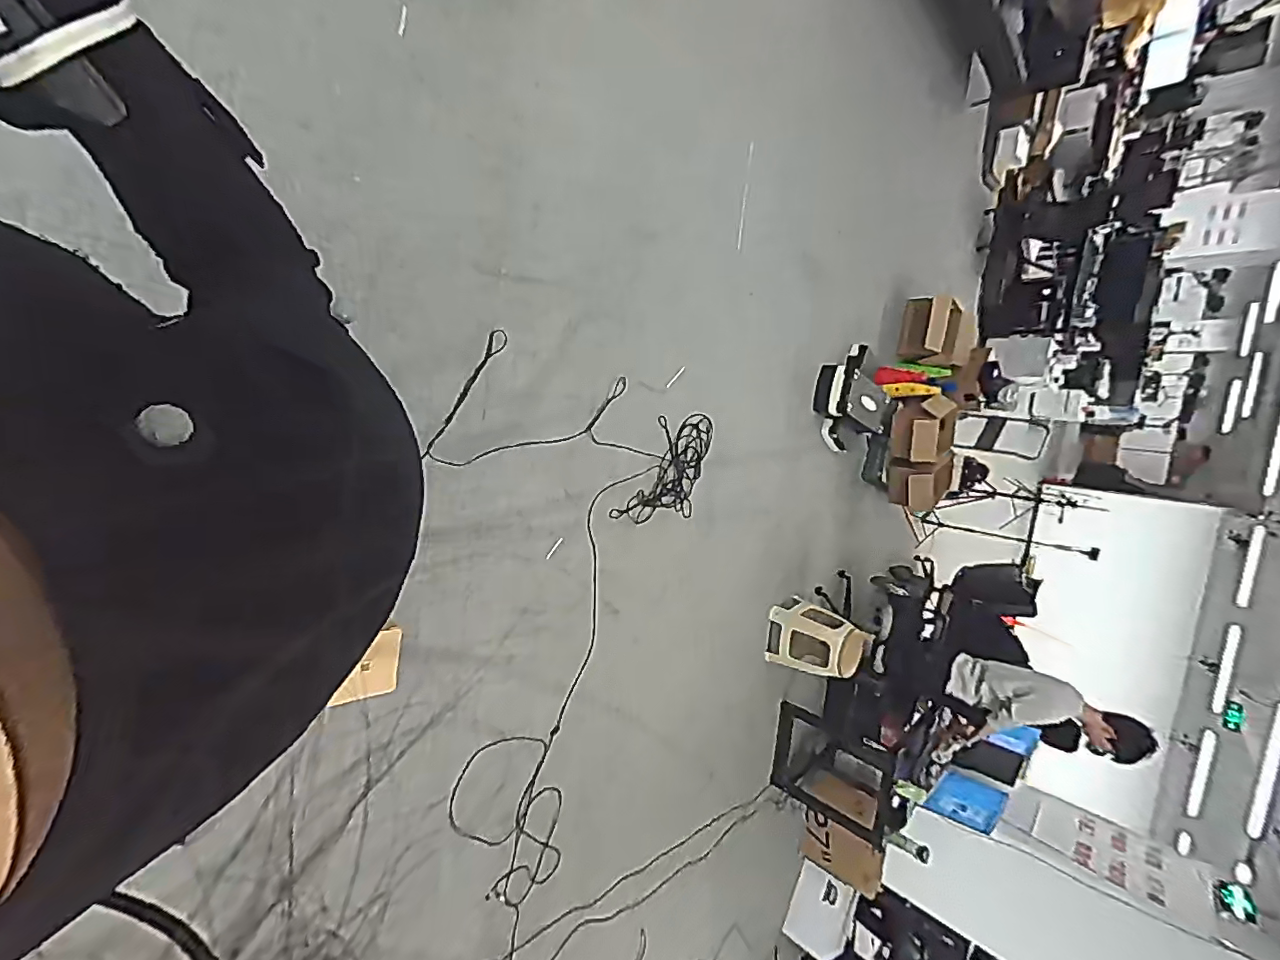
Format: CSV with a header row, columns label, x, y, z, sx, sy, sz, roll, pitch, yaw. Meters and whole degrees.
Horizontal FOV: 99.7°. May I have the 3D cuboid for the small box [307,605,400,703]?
label,x,y,z,sx,sy,sz,roll,pitch,yaw
small box,-0.746,0.444,1.403,0.168,0.176,0.179,3,97,-47
